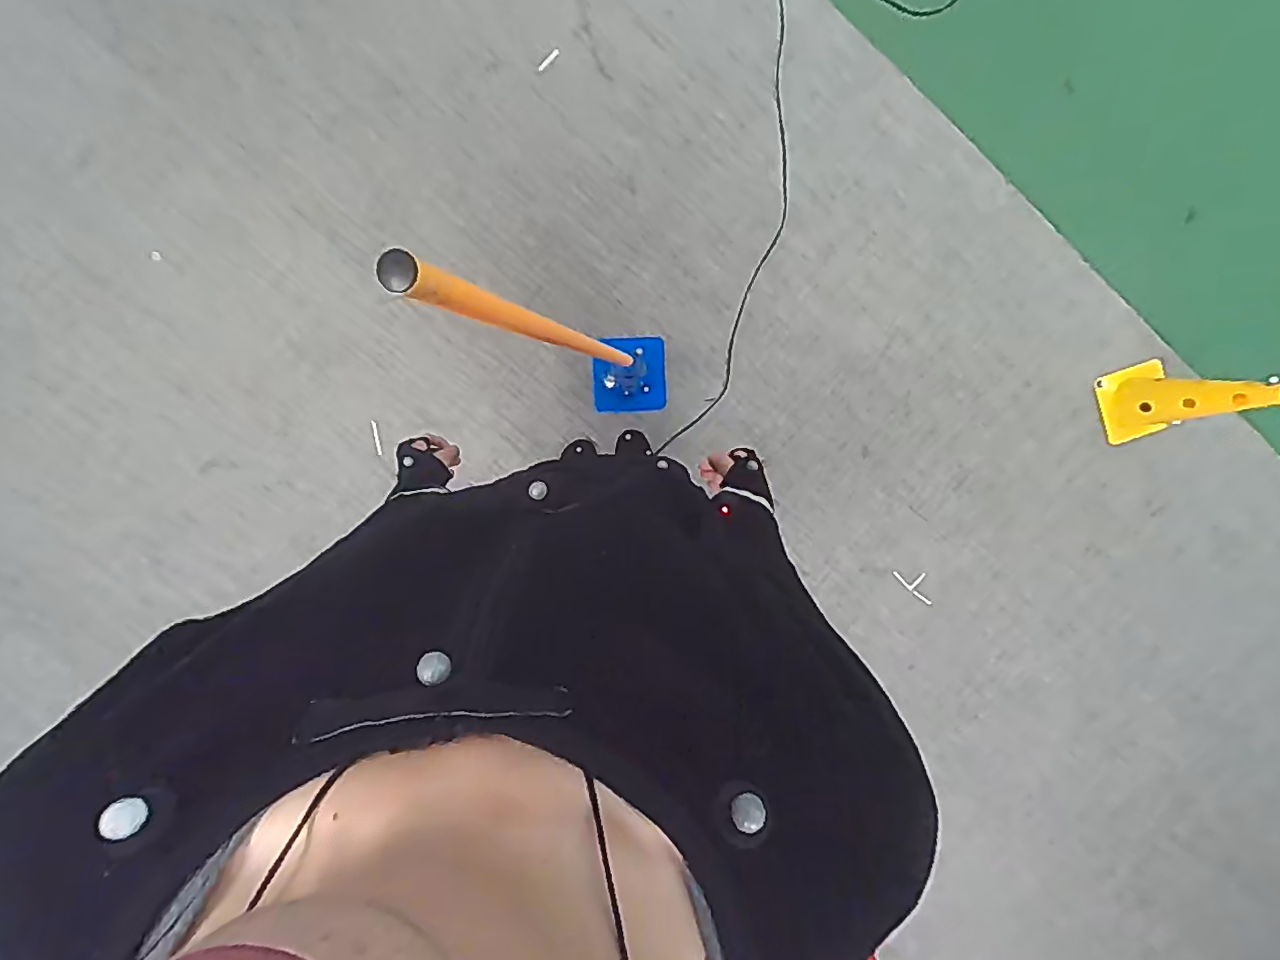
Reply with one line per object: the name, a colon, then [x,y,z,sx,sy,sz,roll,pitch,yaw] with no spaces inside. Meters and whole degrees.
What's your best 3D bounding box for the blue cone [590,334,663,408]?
blue cone: [-0.035,-0.273,1.292,0.193,0.380,0.192,-3,97,0]
